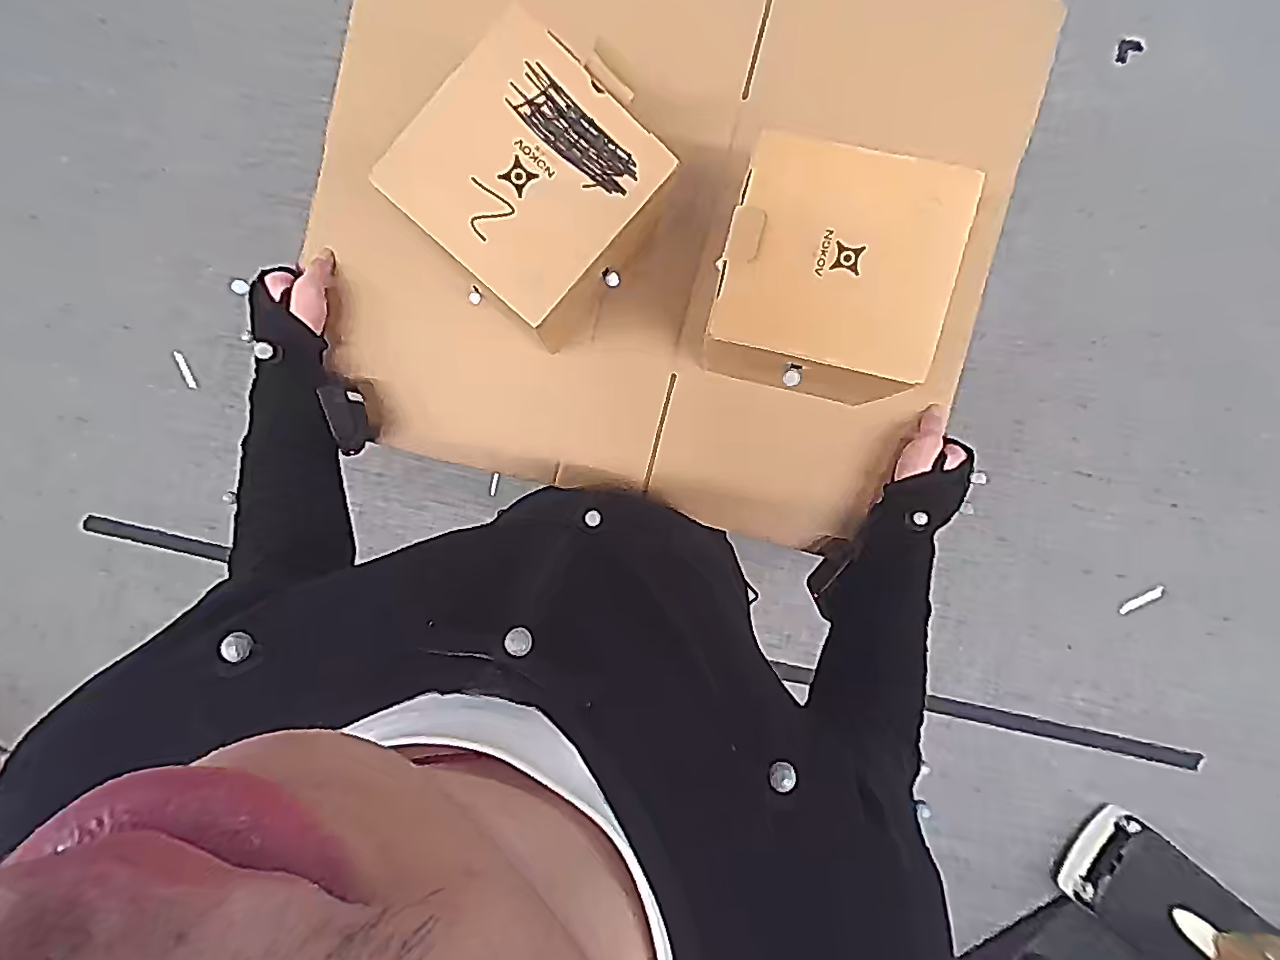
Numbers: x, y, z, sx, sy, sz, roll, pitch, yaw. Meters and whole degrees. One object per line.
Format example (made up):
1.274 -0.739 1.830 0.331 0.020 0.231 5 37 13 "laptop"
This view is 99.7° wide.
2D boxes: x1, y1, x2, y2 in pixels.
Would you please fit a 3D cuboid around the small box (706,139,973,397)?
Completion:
0.168 -0.181 0.515 0.179 0.176 0.168 15 94 6 "small box"
